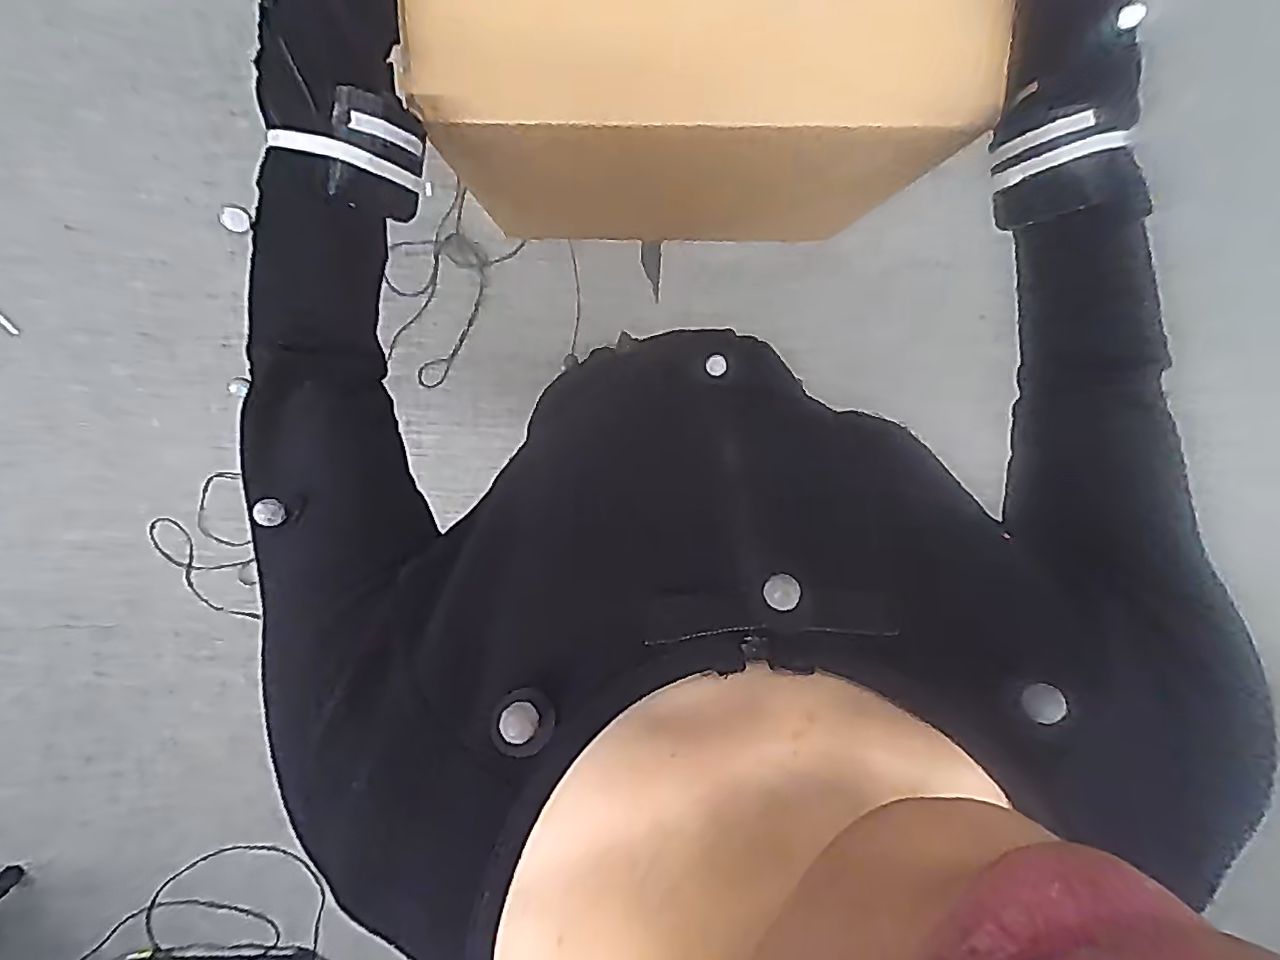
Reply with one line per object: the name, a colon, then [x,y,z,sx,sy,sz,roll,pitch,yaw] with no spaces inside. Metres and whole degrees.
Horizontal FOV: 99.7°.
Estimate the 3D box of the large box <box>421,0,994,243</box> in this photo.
large box: [0.040,-0.427,0.505,0.408,0.320,0.320,-1,100,-2]
